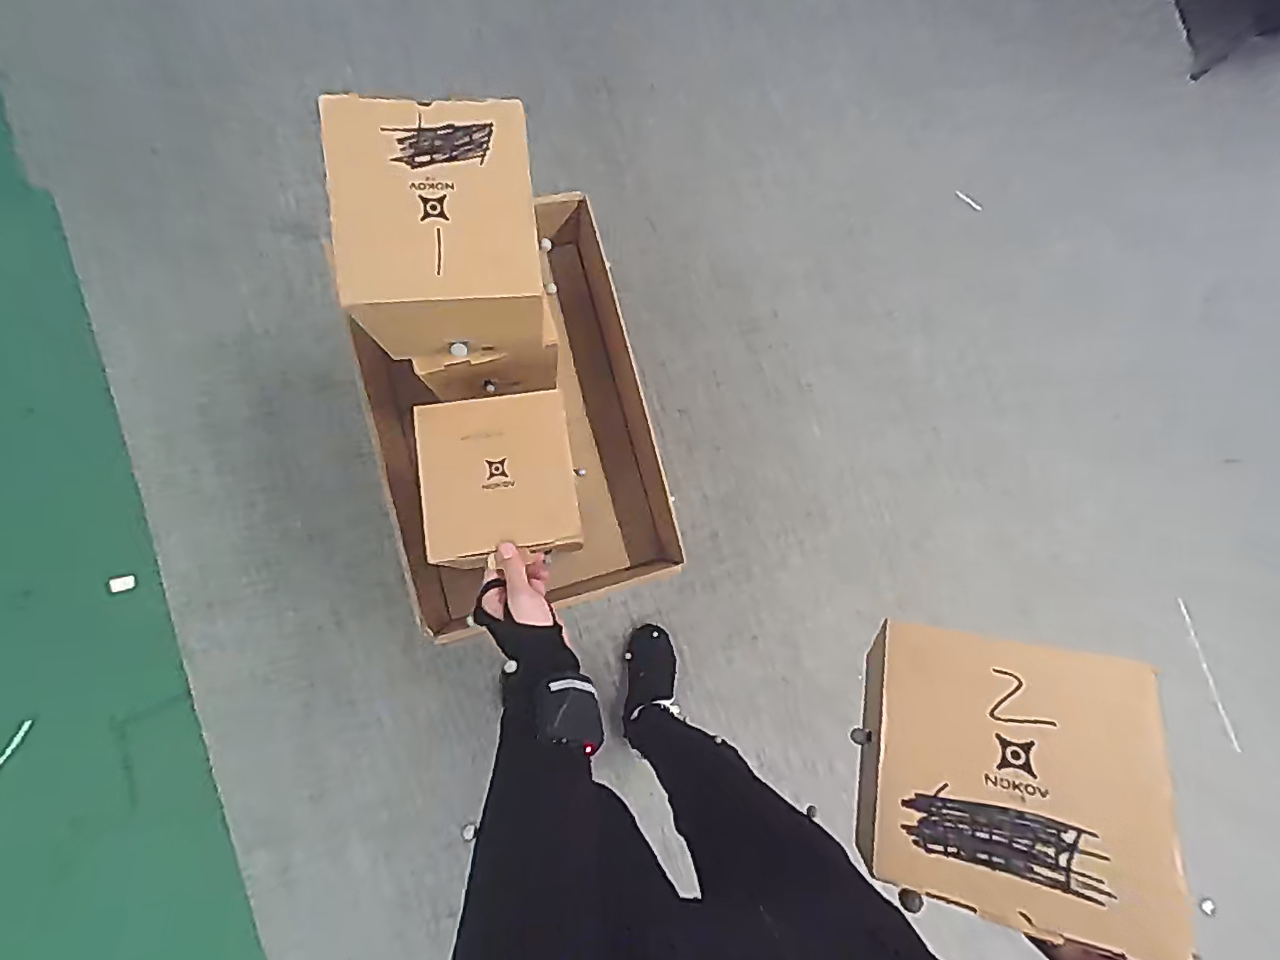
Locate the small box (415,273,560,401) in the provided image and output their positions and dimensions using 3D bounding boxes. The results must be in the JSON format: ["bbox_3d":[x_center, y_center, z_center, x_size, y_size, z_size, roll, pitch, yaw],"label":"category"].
[{"bbox_3d":[-0.208,-0.218,0.701,0.168,0.176,0.179,-16,89,-11],"label":"small box"}]

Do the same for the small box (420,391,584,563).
[{"bbox_3d":[-0.160,0.007,0.672,0.168,0.176,0.179,-7,79,-7],"label":"small box"}]

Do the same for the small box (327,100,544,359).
[{"bbox_3d":[-0.187,-0.233,0.538,0.168,0.176,0.179,-6,88,-10],"label":"small box"}]
